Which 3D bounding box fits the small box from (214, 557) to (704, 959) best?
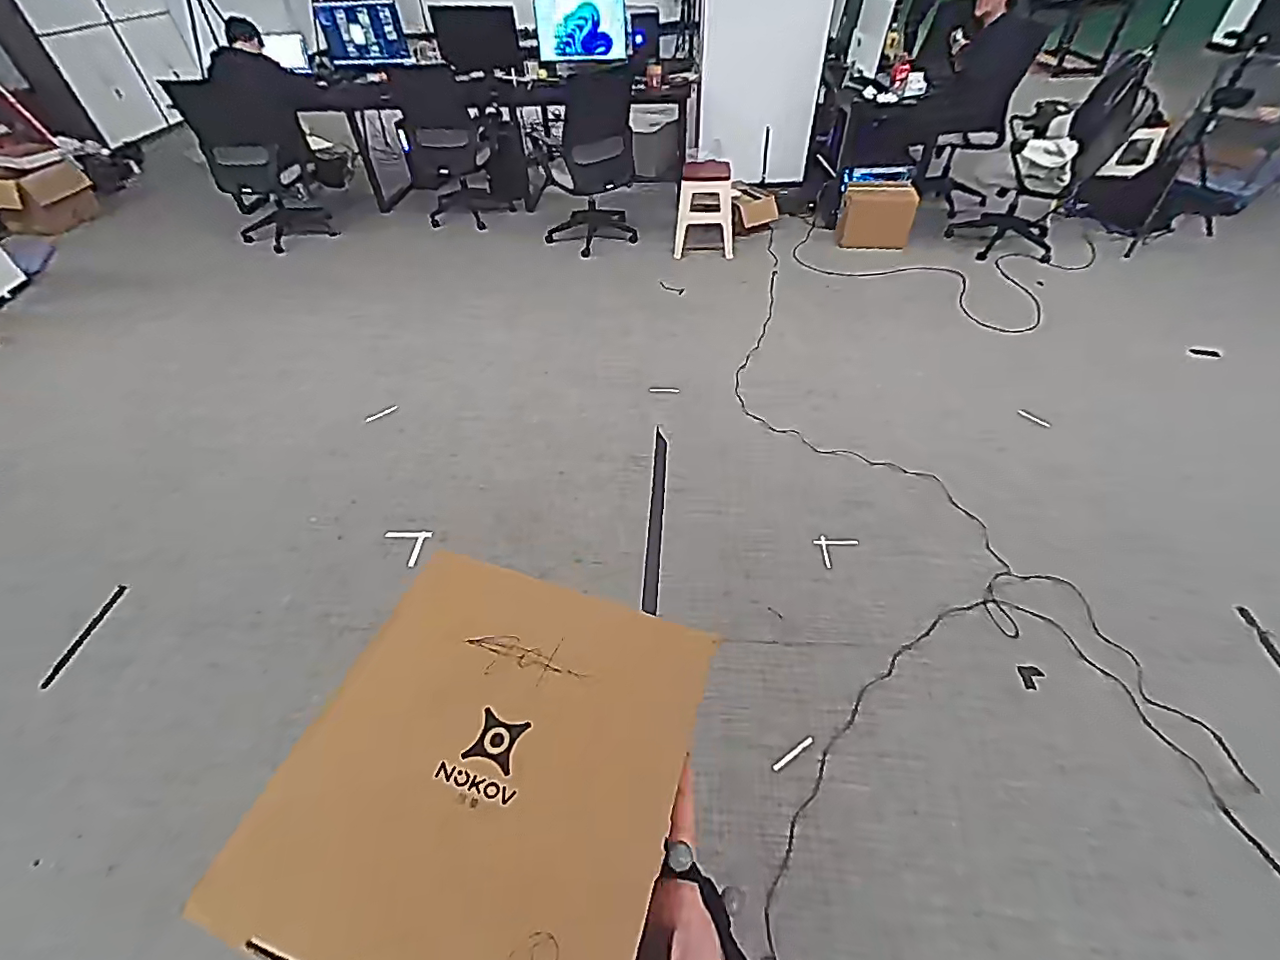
[{"bbox_3d":[-0.071,0.180,0.312,0.168,0.176,0.179,16,47,10],"label":"small box"}]
